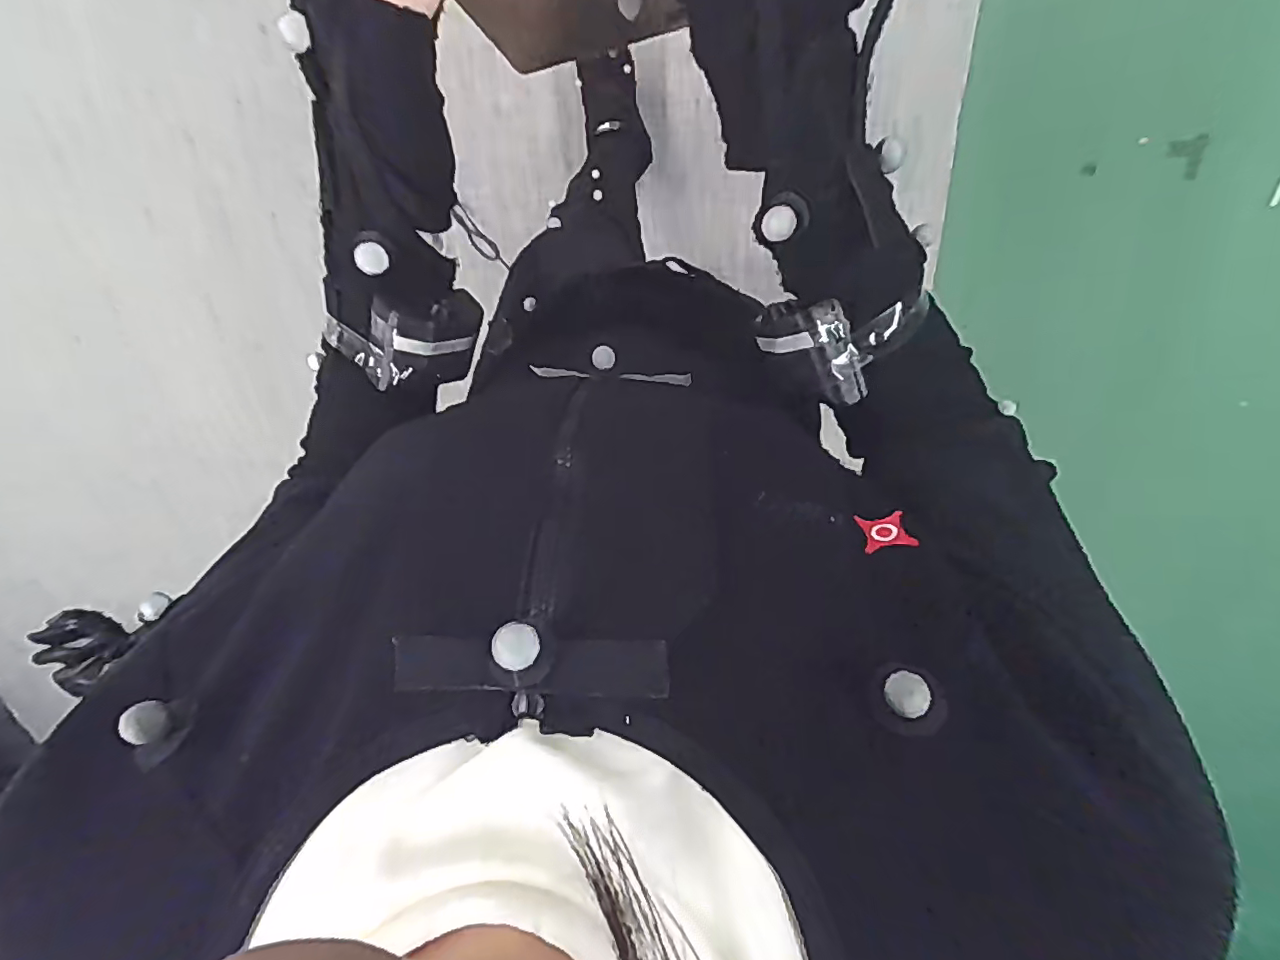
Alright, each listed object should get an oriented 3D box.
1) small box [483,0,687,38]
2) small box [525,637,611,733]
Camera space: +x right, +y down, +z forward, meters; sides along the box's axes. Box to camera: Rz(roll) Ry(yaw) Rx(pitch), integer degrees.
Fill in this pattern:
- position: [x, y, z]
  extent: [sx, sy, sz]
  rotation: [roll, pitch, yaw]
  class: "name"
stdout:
- position: [-0.025, -0.337, 0.238]
  extent: [0.168, 0.176, 0.179]
  rotation: [-9, 109, 10]
  class: "small box"
- position: [-0.174, 0.519, 1.381]
  extent: [0.179, 0.176, 0.168]
  rotation: [-5, 116, 8]
  class: "small box"
